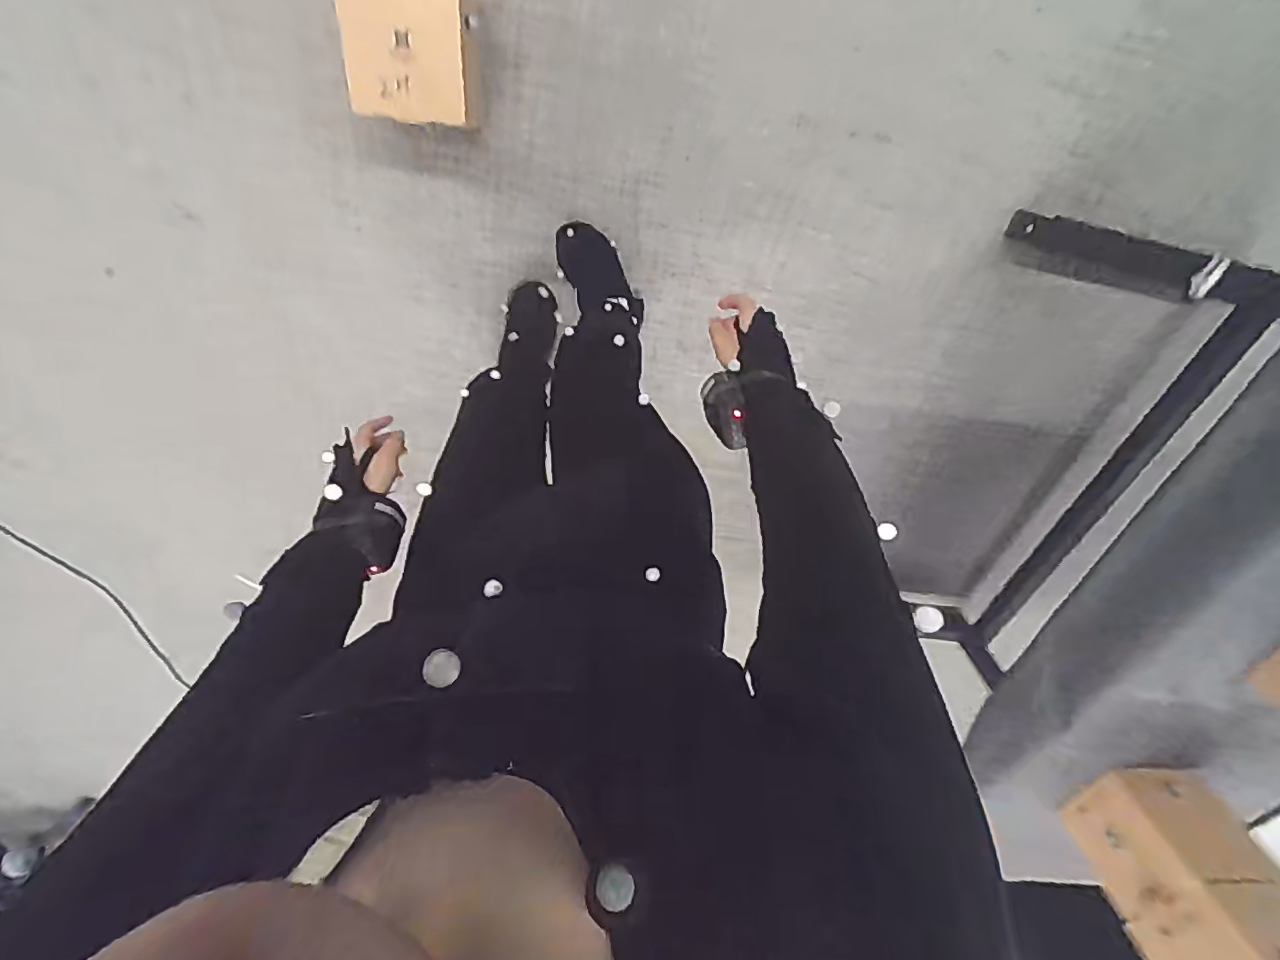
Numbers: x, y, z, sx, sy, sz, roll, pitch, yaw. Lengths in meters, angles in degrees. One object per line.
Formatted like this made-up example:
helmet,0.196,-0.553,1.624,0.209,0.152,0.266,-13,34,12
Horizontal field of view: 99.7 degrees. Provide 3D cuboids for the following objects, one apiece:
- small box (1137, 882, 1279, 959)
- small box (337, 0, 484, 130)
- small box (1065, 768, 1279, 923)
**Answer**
small box,0.880,0.694,0.762,0.179,0.176,0.168,7,124,-11
small box,-0.339,-0.651,0.830,0.168,0.176,0.179,3,124,-6
small box,0.870,0.599,0.894,0.179,0.176,0.168,6,123,-8
